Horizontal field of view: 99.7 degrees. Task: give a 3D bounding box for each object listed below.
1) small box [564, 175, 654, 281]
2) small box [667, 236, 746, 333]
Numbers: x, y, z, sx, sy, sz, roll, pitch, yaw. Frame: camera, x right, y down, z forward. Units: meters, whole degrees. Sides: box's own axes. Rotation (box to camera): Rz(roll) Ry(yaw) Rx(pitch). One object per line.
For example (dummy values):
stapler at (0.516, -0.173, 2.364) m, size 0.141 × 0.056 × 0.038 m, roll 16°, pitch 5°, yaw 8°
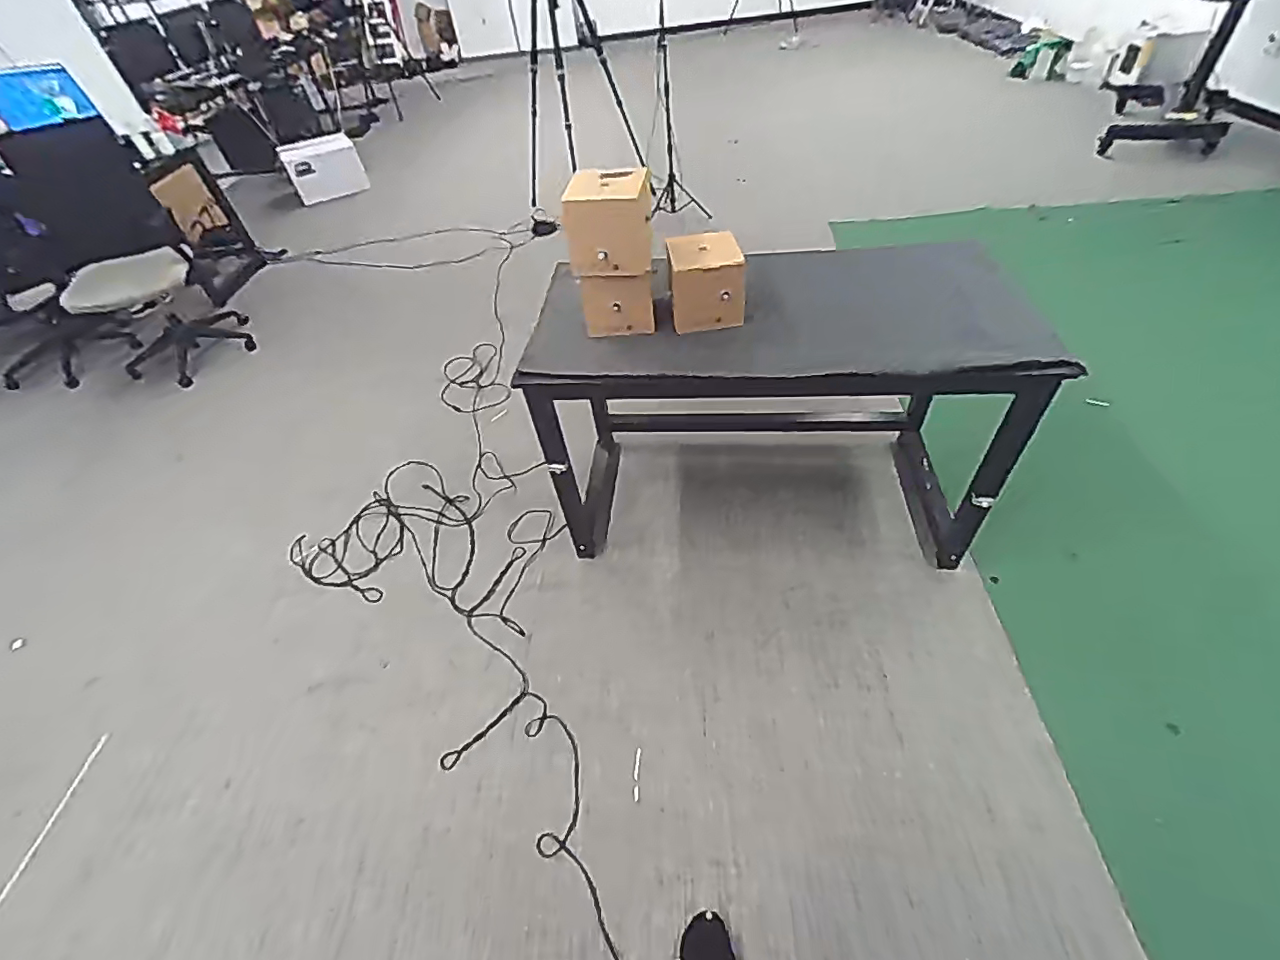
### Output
small box at (-0.062, -0.569, 1.221) m, size 0.168 × 0.176 × 0.179 m, roll 3°, pitch 48°, yaw 9°
small box at (0.161, -0.475, 1.332) m, size 0.168 × 0.176 × 0.179 m, roll -6°, pitch 46°, yaw 0°
